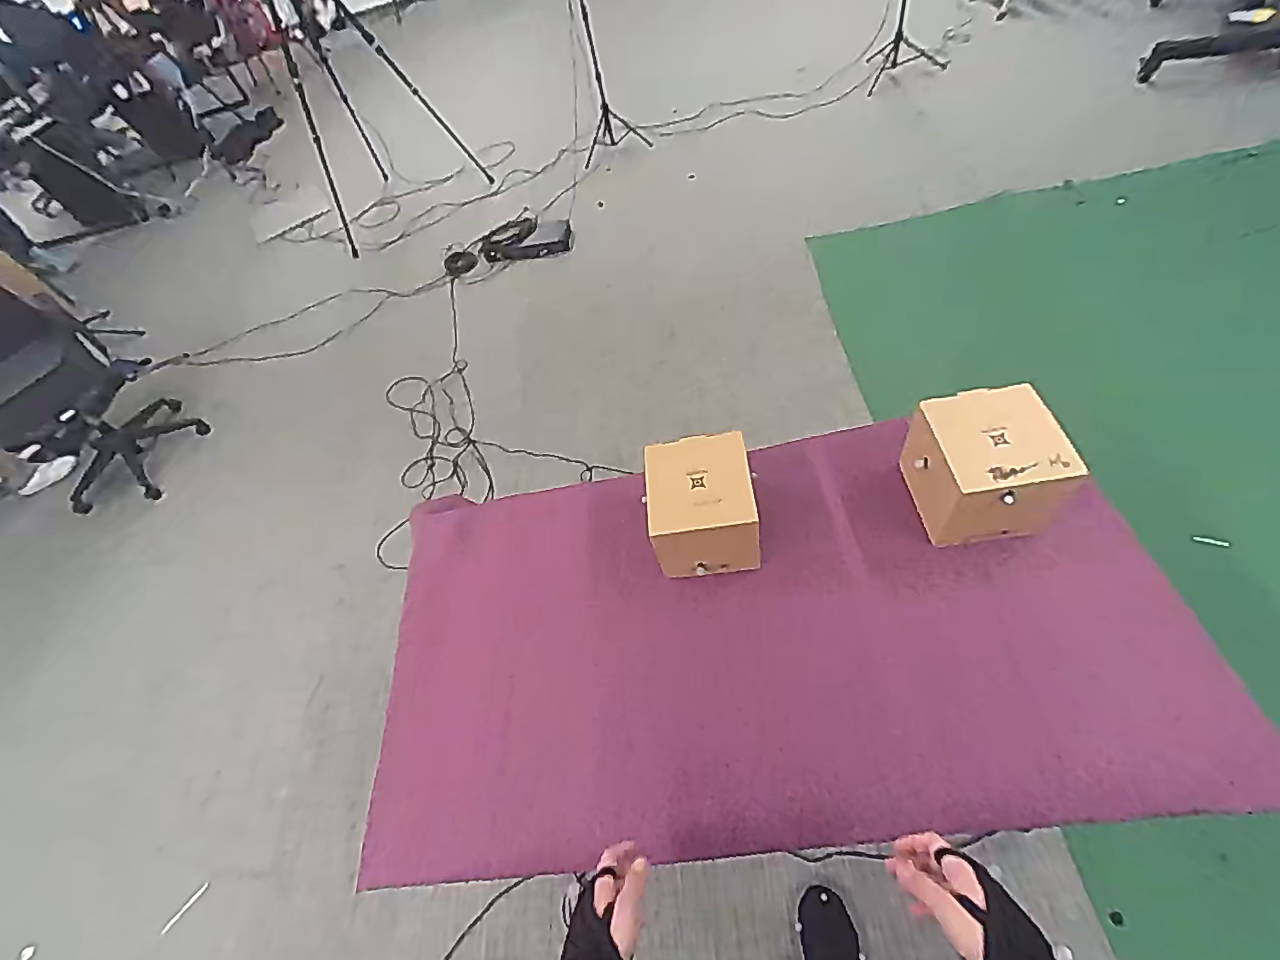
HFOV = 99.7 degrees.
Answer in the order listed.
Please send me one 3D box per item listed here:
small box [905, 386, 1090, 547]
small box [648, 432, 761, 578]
[{"bbox_3d":[0.536,-0.017,0.847,0.168,0.176,0.179,-10,54,8],"label":"small box"},{"bbox_3d":[0.109,0.046,0.909,0.168,0.176,0.179,-8,55,9],"label":"small box"}]
